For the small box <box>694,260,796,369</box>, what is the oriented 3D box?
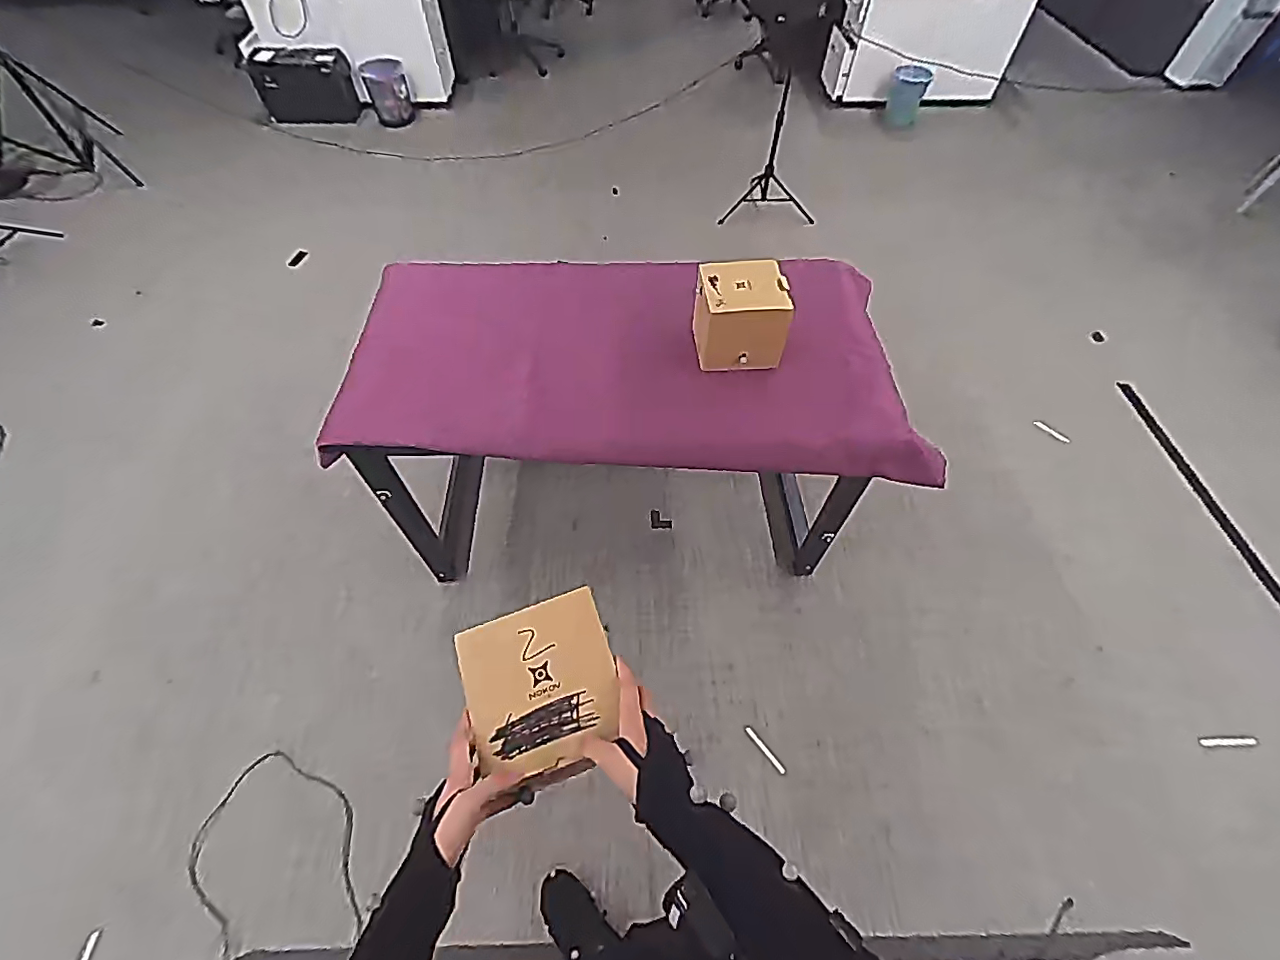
[{"bbox_3d":[0.223,-0.362,1.195,0.179,0.176,0.168,-3,55,-3],"label":"small box"}]
